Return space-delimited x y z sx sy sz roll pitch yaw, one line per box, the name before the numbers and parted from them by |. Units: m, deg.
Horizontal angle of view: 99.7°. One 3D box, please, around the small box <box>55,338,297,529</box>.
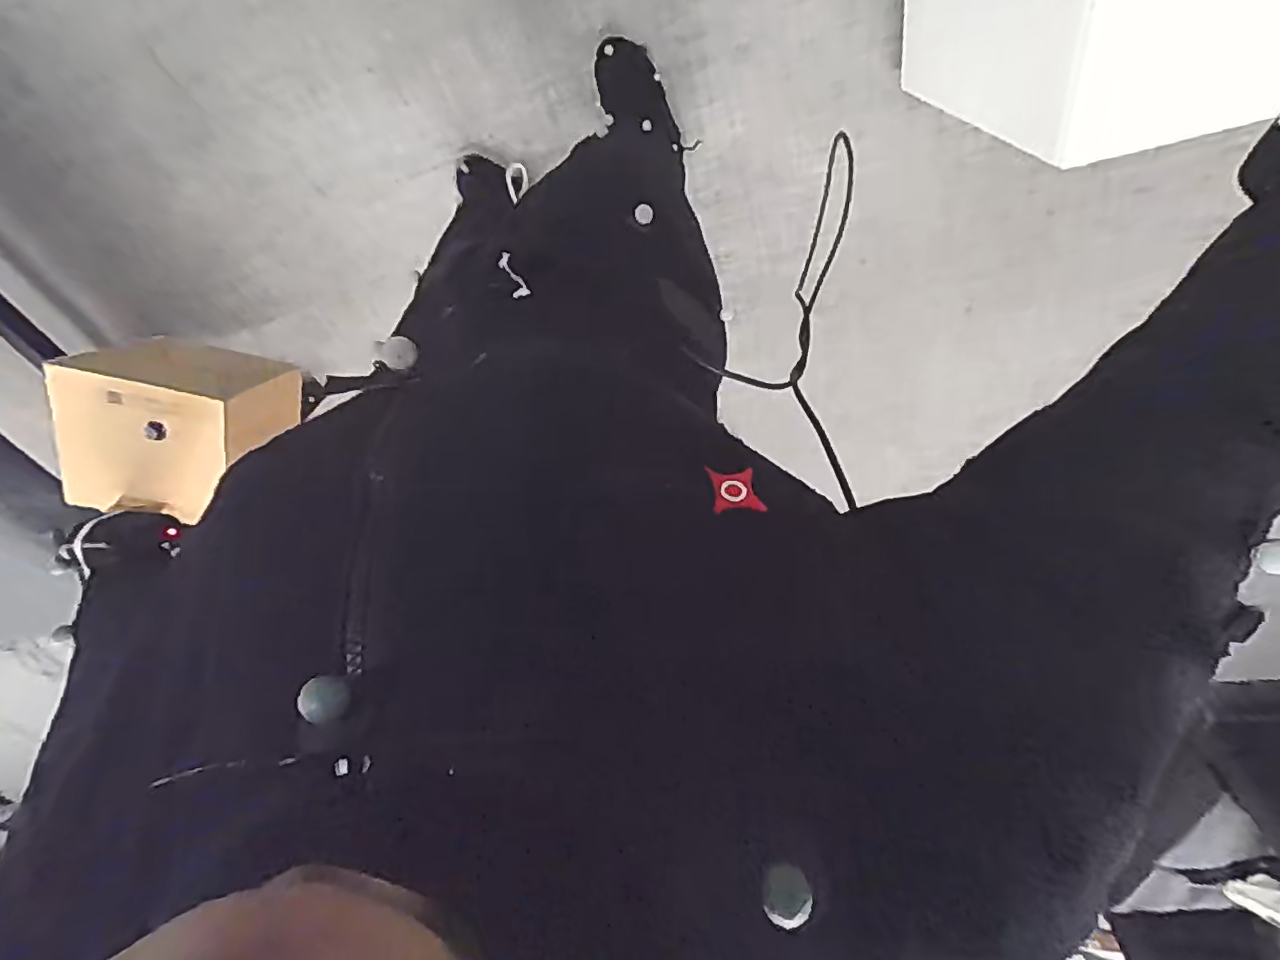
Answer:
small box | -0.546 -0.066 0.664 0.168 0.179 0.176 12 113 -11
